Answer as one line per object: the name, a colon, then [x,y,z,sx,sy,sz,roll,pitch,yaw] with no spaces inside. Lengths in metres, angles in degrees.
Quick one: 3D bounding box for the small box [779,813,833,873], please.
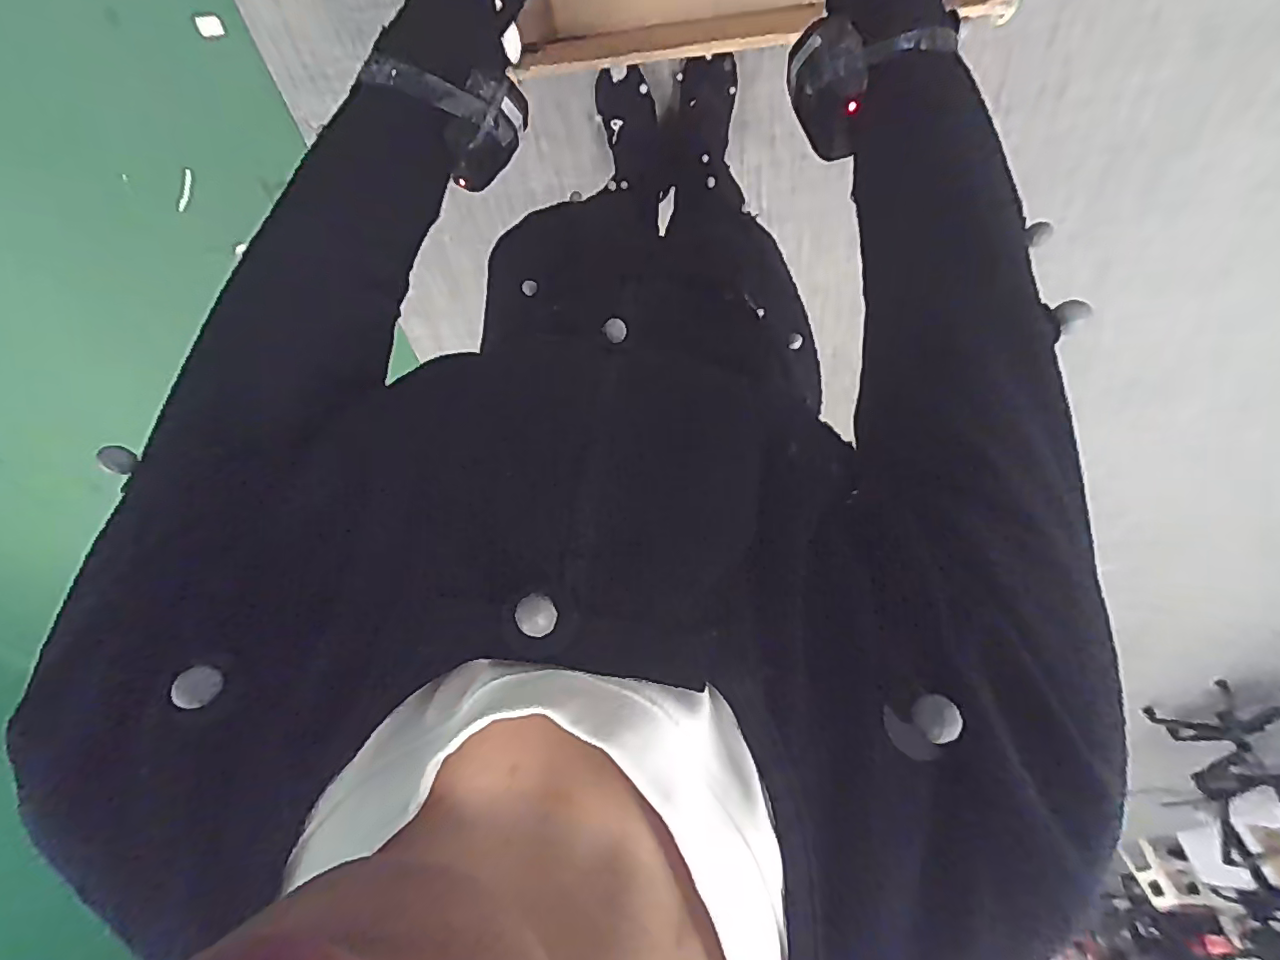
small box: [0.641,1.403,2.091,0.179,0.176,0.168,-7,134,12]
